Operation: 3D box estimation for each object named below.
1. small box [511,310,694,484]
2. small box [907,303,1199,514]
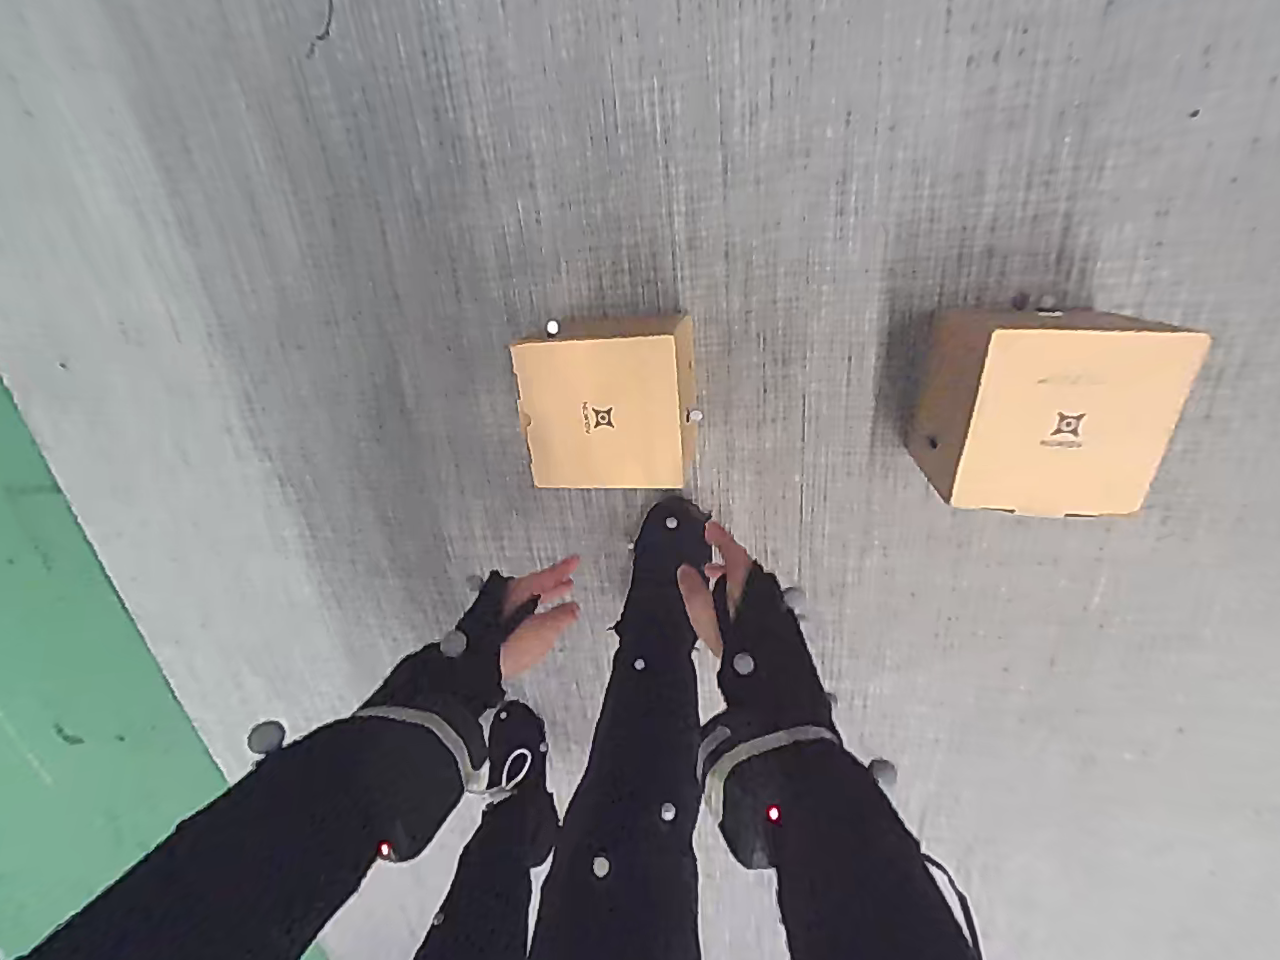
[{"bbox_3d":[-0.028,-0.104,0.641,0.179,0.176,0.168,0,114,12],"label":"small box"},{"bbox_3d":[0.395,-0.083,0.562,0.168,0.176,0.179,3,113,9],"label":"small box"}]
